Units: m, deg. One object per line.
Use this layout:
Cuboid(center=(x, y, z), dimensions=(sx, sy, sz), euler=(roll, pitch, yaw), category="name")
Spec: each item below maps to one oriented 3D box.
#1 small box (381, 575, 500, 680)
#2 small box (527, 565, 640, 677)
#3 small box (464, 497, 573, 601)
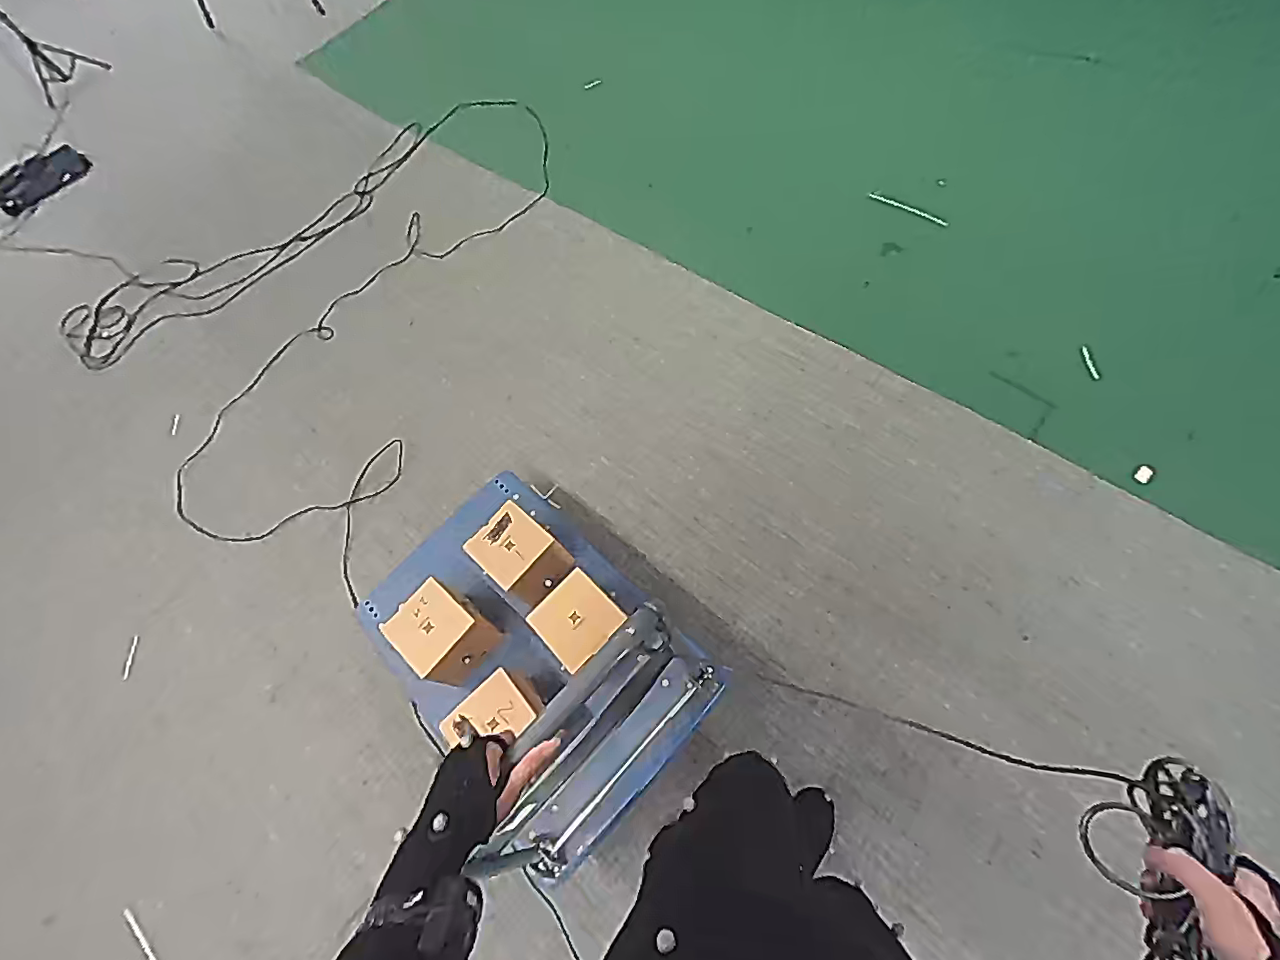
Cuboid(center=(-0.471, 0.362, 1.302), dimensions=(0.179, 0.176, 0.168), euler=(35, 75, 25), category="small box")
Cuboid(center=(-0.123, 0.331, 1.245), dimensions=(0.168, 0.176, 0.179), euler=(-44, 64, -11), category="small box")
Cuboid(center=(-0.300, 0.179, 1.357), dimensions=(0.179, 0.176, 0.168), euler=(37, 77, 24), category="small box")
